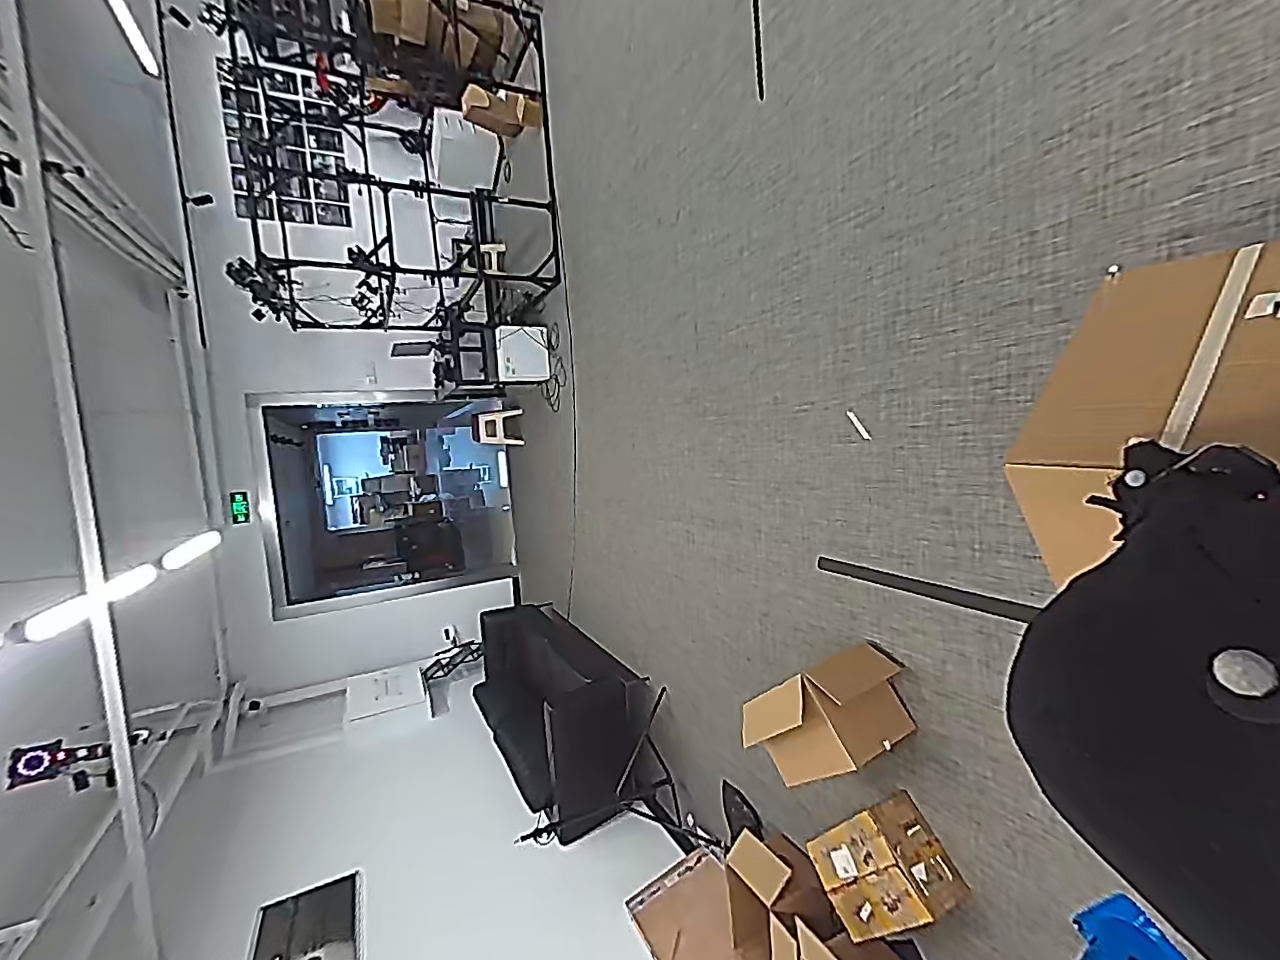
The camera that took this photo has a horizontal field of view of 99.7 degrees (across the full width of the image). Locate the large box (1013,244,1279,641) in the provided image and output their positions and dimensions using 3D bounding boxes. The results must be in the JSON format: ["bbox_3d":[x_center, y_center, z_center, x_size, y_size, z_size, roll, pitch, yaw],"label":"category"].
[{"bbox_3d":[0.771,-0.051,0.706,0.320,0.408,0.320,50,159,-26],"label":"large box"}]
